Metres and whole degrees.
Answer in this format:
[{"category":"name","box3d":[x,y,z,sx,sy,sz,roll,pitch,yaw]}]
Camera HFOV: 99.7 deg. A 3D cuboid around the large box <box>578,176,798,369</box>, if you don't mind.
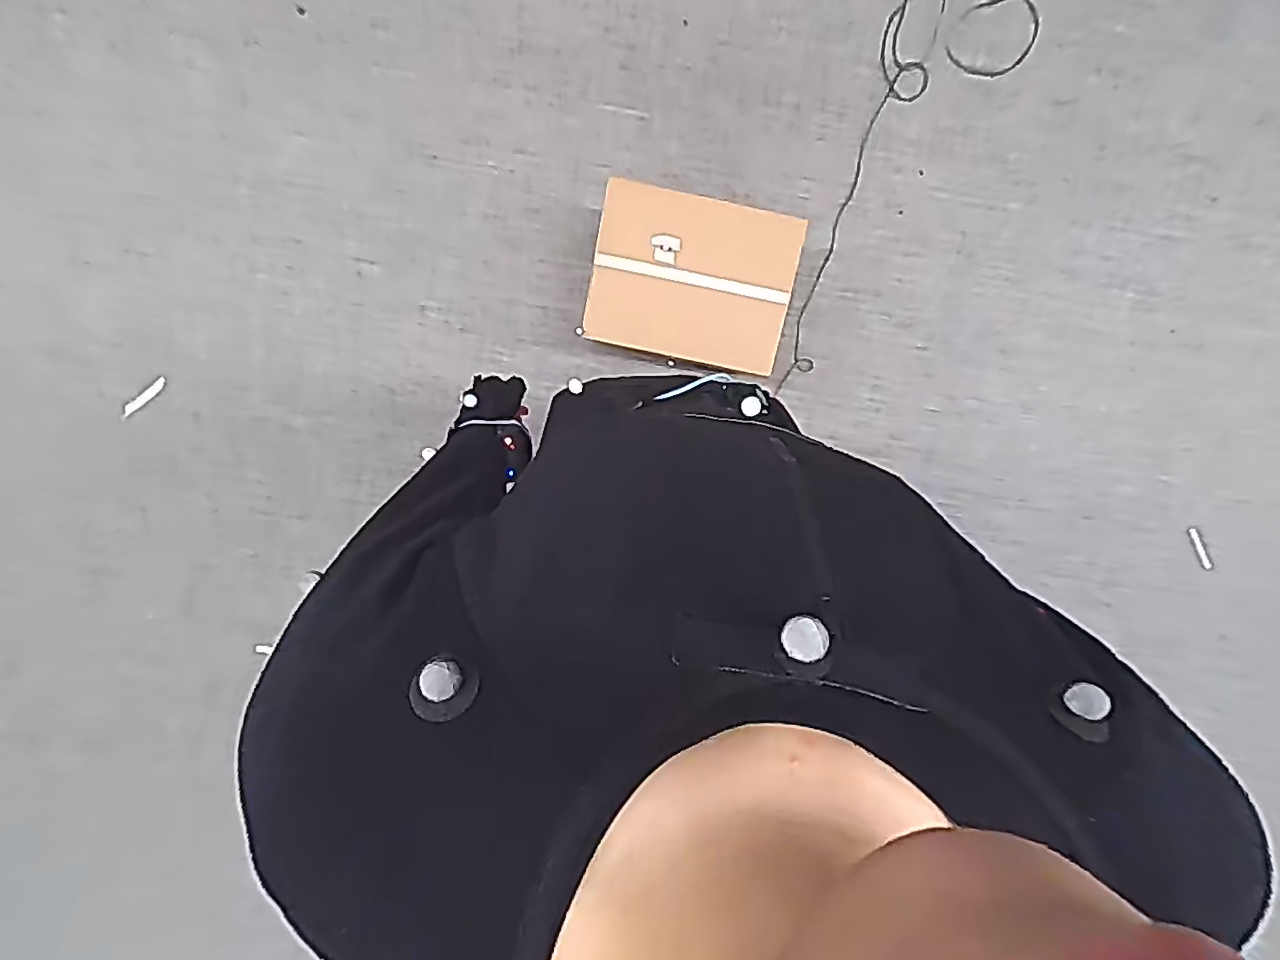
[{"category":"large box","box3d":[0.096,-0.448,1.242,0.408,0.320,0.320,12,102,-2]}]
